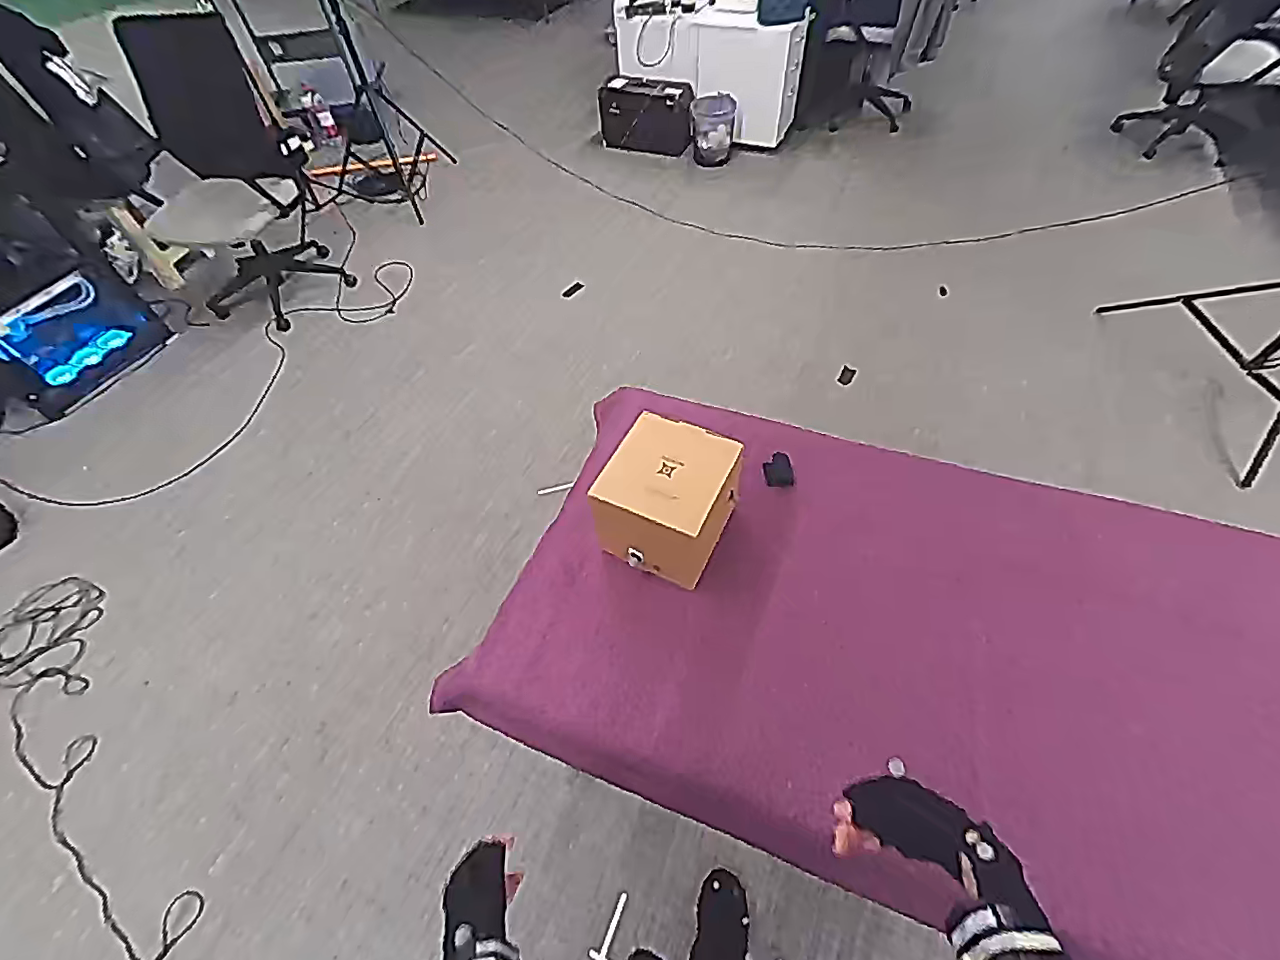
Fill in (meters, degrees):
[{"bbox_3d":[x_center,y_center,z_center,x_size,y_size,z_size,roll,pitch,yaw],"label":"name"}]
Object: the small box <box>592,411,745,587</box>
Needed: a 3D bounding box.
[{"bbox_3d":[0.046,0.031,0.822,0.168,0.176,0.179,20,58,19],"label":"small box"}]
